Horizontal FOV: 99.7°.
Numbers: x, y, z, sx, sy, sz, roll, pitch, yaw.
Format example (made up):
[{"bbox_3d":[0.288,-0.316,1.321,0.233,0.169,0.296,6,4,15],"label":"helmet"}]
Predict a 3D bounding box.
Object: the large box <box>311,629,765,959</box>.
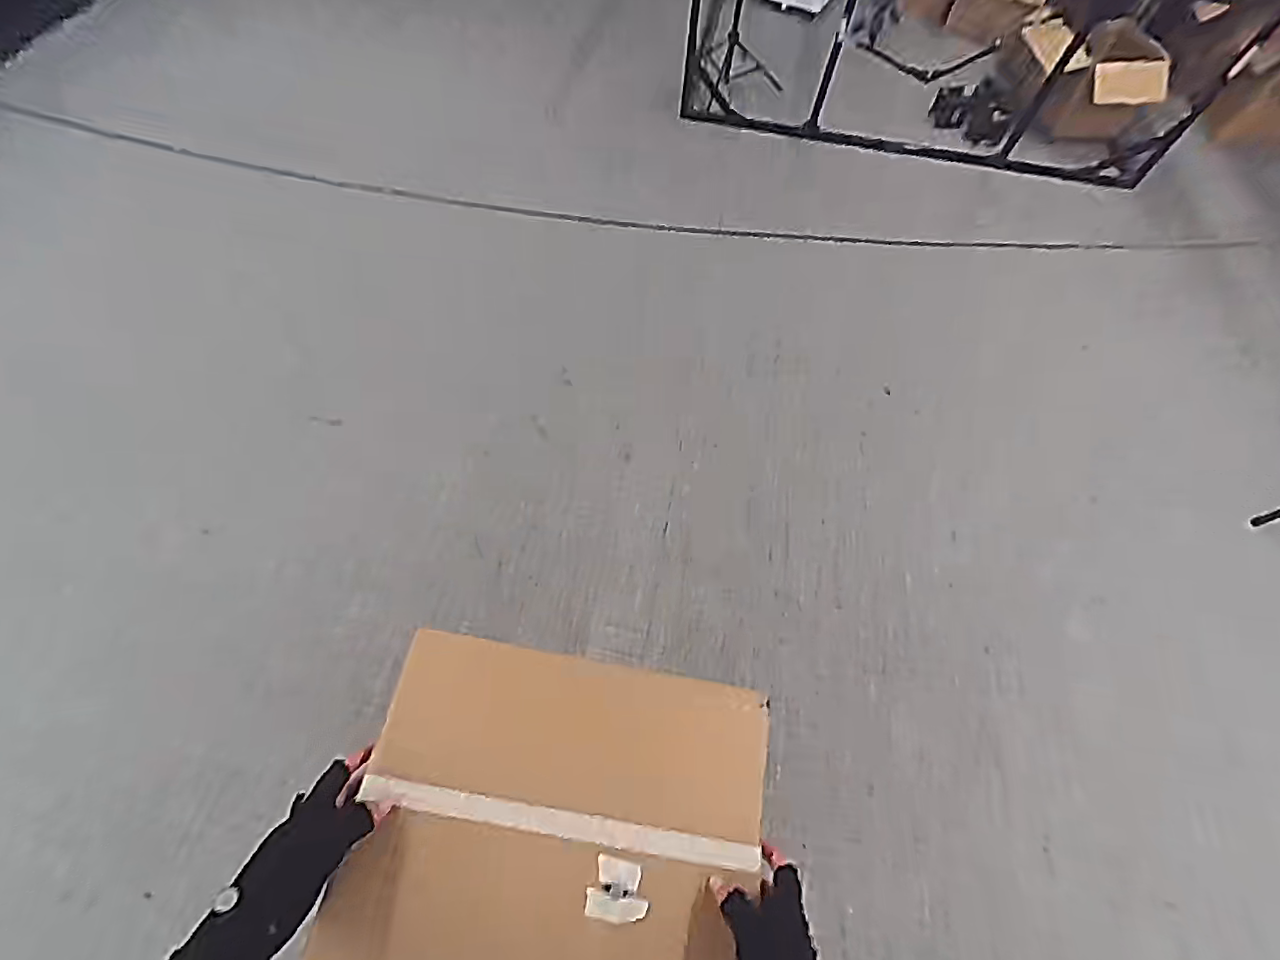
[{"bbox_3d":[-0.091,0.401,0.678,0.408,0.320,0.320,11,64,0],"label":"large box"}]
